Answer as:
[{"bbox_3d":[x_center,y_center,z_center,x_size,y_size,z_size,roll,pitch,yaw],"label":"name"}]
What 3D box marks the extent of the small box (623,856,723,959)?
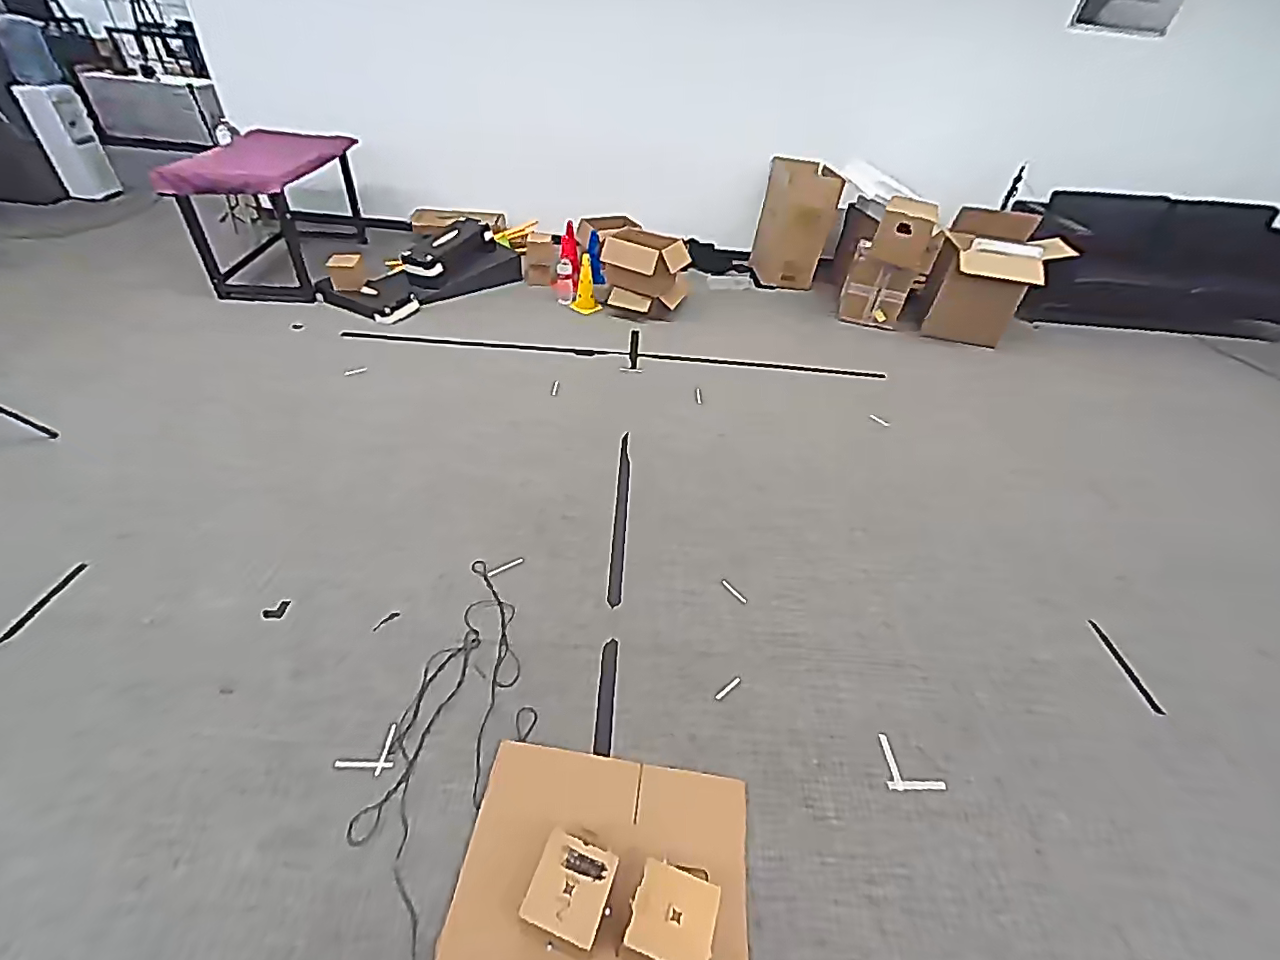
[{"bbox_3d":[0.071,0.989,1.213,0.179,0.176,0.168,16,42,12],"label":"small box"}]
